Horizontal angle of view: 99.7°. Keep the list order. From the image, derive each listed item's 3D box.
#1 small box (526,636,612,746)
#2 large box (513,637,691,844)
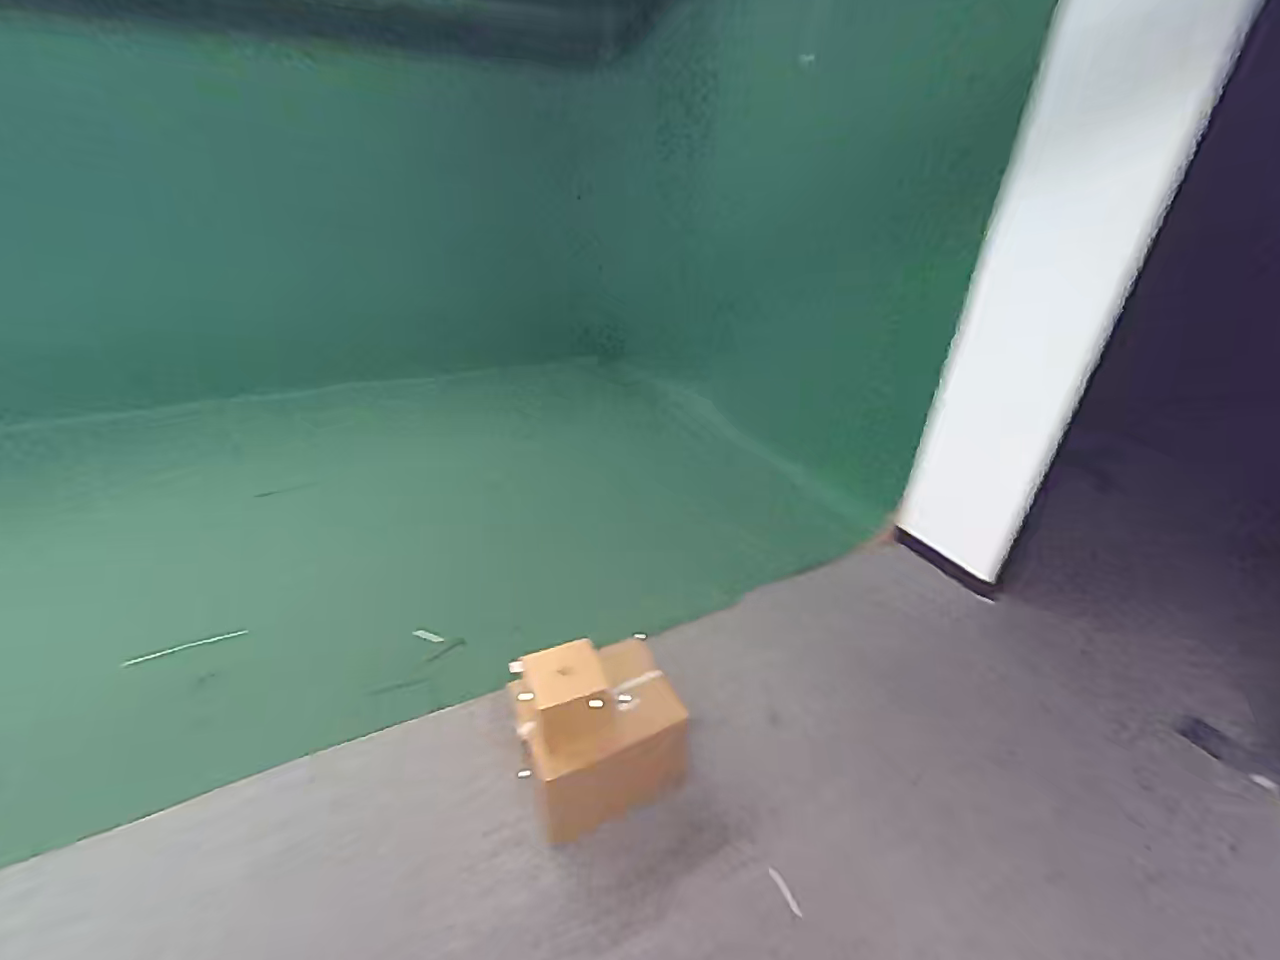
[{"bbox_3d":[-0.176,0.529,1.351,0.179,0.176,0.168,-10,34,-21],"label":"small box"},{"bbox_3d":[-0.112,0.715,1.522,0.408,0.320,0.320,-12,33,-24],"label":"large box"}]
